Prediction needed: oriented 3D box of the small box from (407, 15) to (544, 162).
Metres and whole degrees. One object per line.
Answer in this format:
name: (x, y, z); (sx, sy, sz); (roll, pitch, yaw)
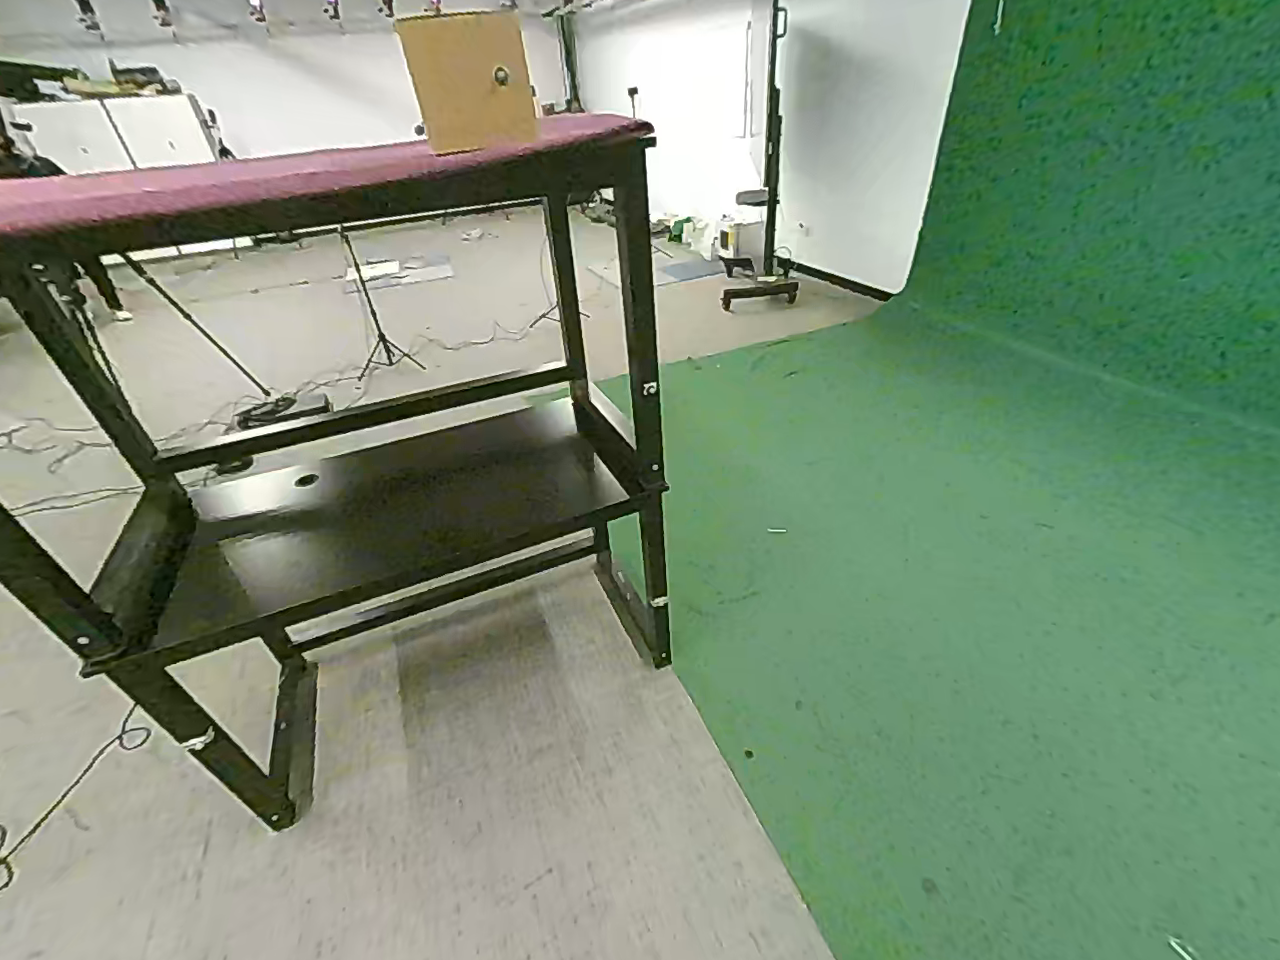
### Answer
small box: (-0.262, -0.631, 0.884); (0.179, 0.176, 0.168); (-16, 33, -11)
